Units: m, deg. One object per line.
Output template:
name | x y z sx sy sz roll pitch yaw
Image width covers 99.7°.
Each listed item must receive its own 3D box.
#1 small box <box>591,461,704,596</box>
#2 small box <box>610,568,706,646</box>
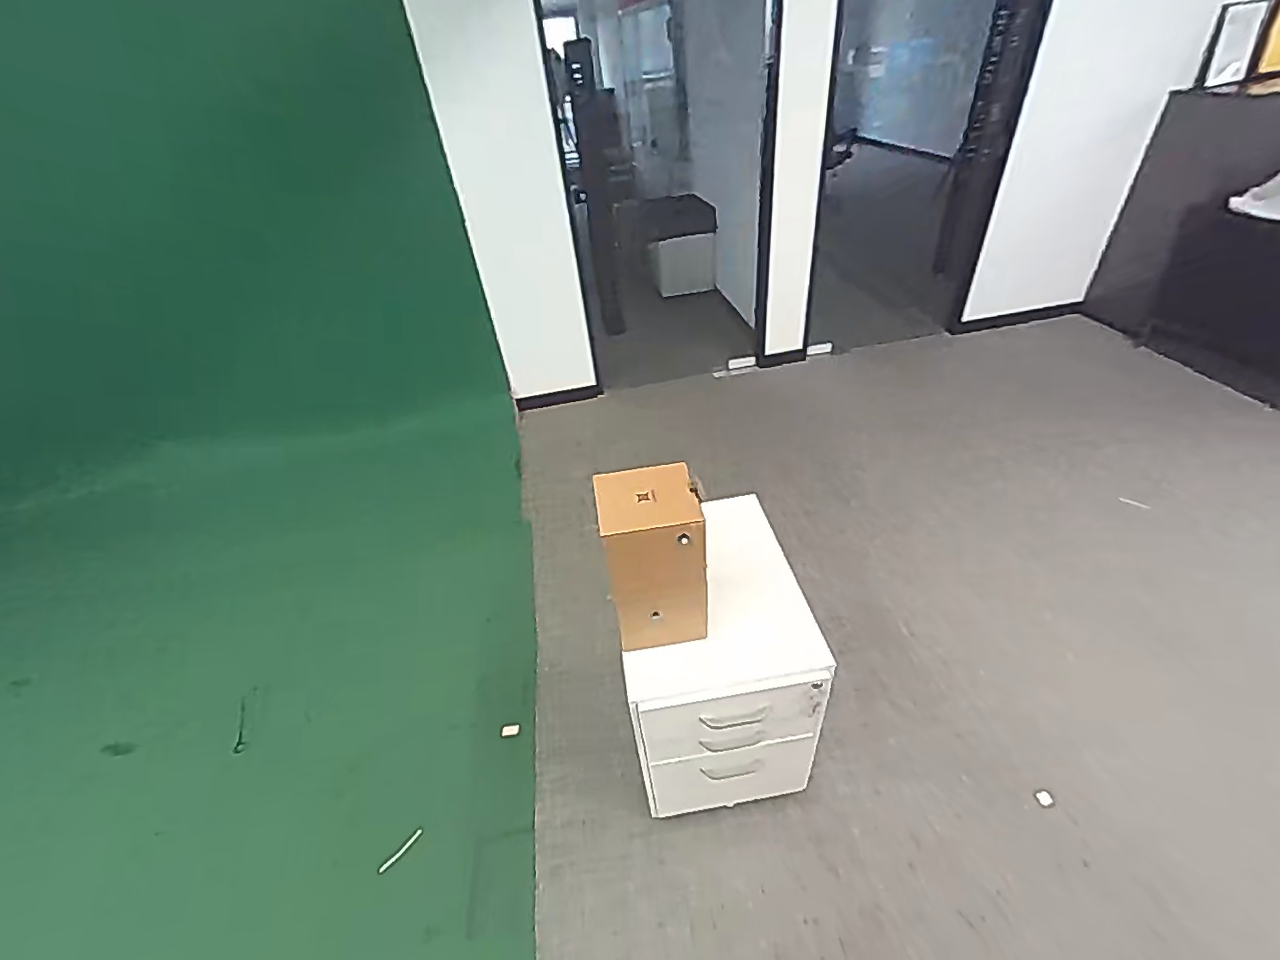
small box | 0.013 0.090 0.977 0.179 0.176 0.168 -8 39 -4
small box | 0.031 0.212 1.085 0.179 0.176 0.168 -9 39 -3
